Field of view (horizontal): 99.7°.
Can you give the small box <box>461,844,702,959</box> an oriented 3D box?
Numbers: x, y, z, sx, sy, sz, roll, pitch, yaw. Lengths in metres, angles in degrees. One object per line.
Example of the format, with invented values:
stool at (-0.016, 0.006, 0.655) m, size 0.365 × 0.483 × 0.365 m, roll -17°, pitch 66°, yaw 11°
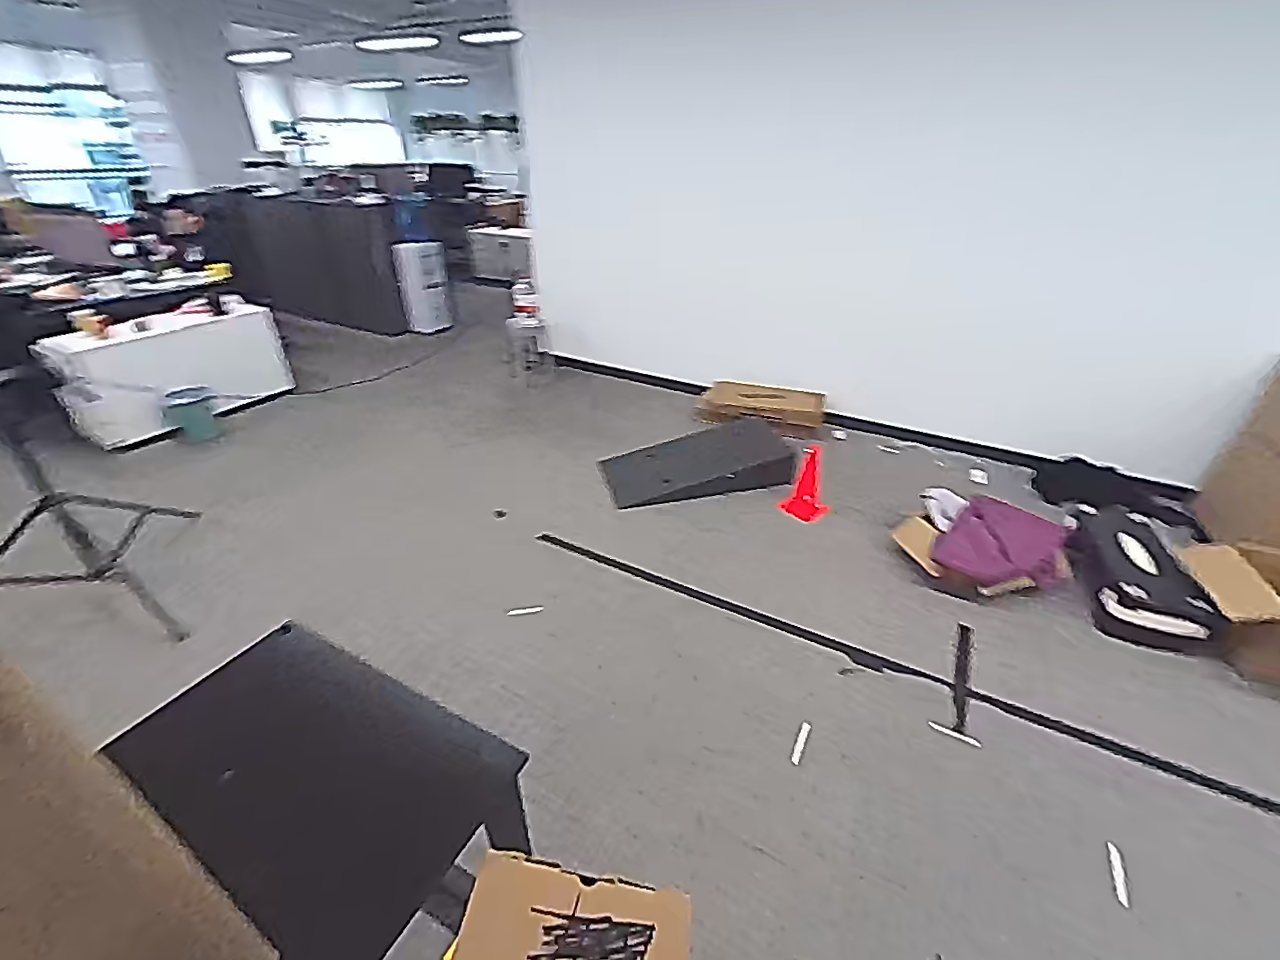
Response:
small box at (-0.058, 0.411, 0.404) m, size 0.168 × 0.176 × 0.179 m, roll 12°, pitch 43°, yaw 1°
